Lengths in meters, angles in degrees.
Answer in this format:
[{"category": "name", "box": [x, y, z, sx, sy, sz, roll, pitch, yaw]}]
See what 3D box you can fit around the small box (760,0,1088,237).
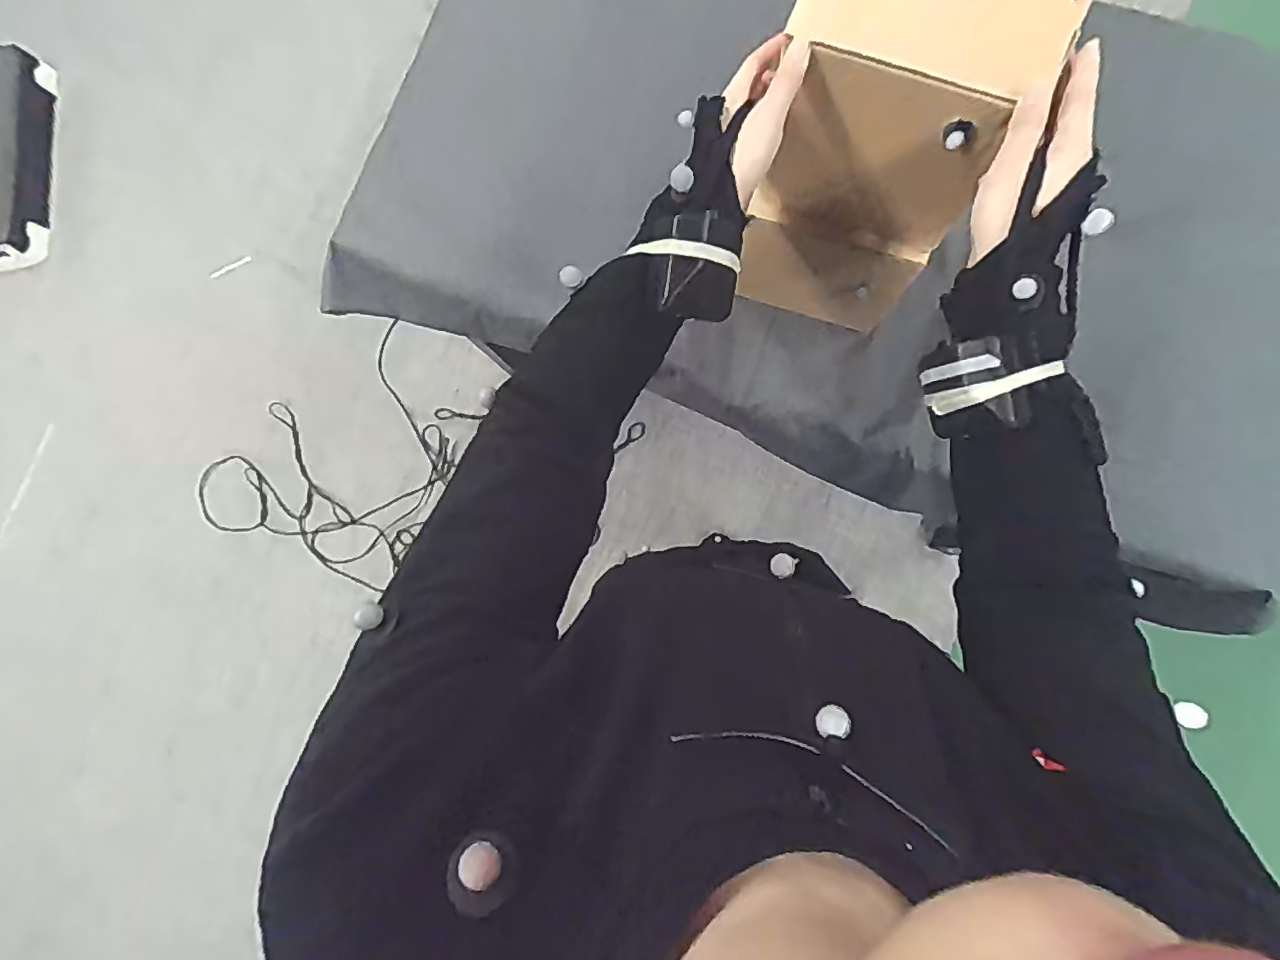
[{"category": "small box", "box": [0.210, -0.327, 0.429, 0.179, 0.176, 0.168, 22, 86, 6]}]
